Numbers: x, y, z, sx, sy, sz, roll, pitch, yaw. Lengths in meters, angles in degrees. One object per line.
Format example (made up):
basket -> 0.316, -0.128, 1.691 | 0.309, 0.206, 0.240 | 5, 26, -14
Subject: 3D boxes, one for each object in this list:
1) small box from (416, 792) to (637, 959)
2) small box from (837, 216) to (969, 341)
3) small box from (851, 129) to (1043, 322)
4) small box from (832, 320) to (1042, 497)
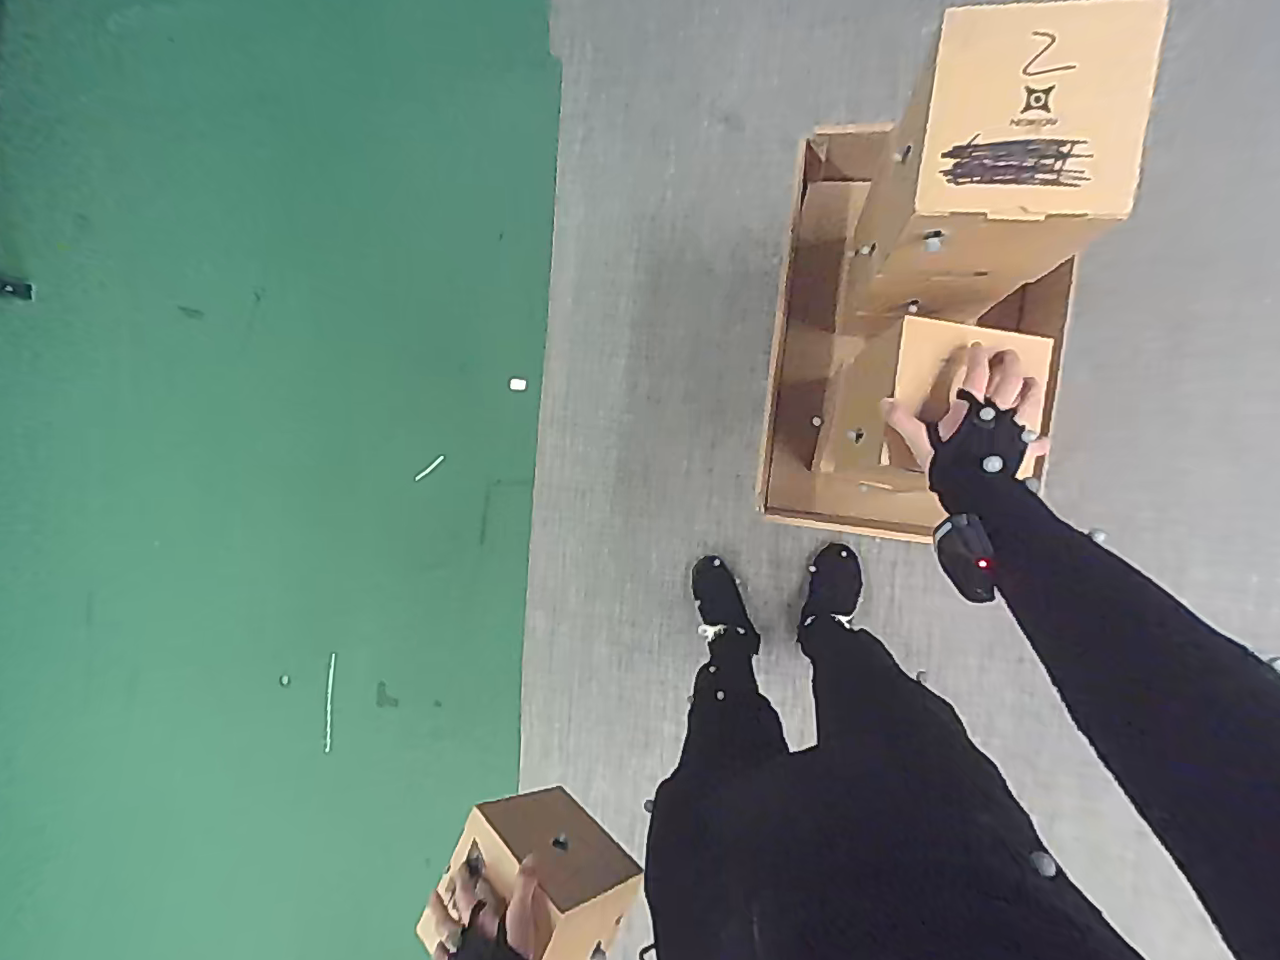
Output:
small box -> -0.137, 0.526, 0.683 | 0.179, 0.176, 0.168 | 22, 86, 37
small box -> 0.416, -0.325, 0.858 | 0.168, 0.176, 0.179 | 7, 94, 13
small box -> 0.379, -0.317, 0.700 | 0.168, 0.176, 0.179 | 7, 94, 12
small box -> 0.359, -0.078, 0.687 | 0.168, 0.176, 0.179 | 11, 87, 3
